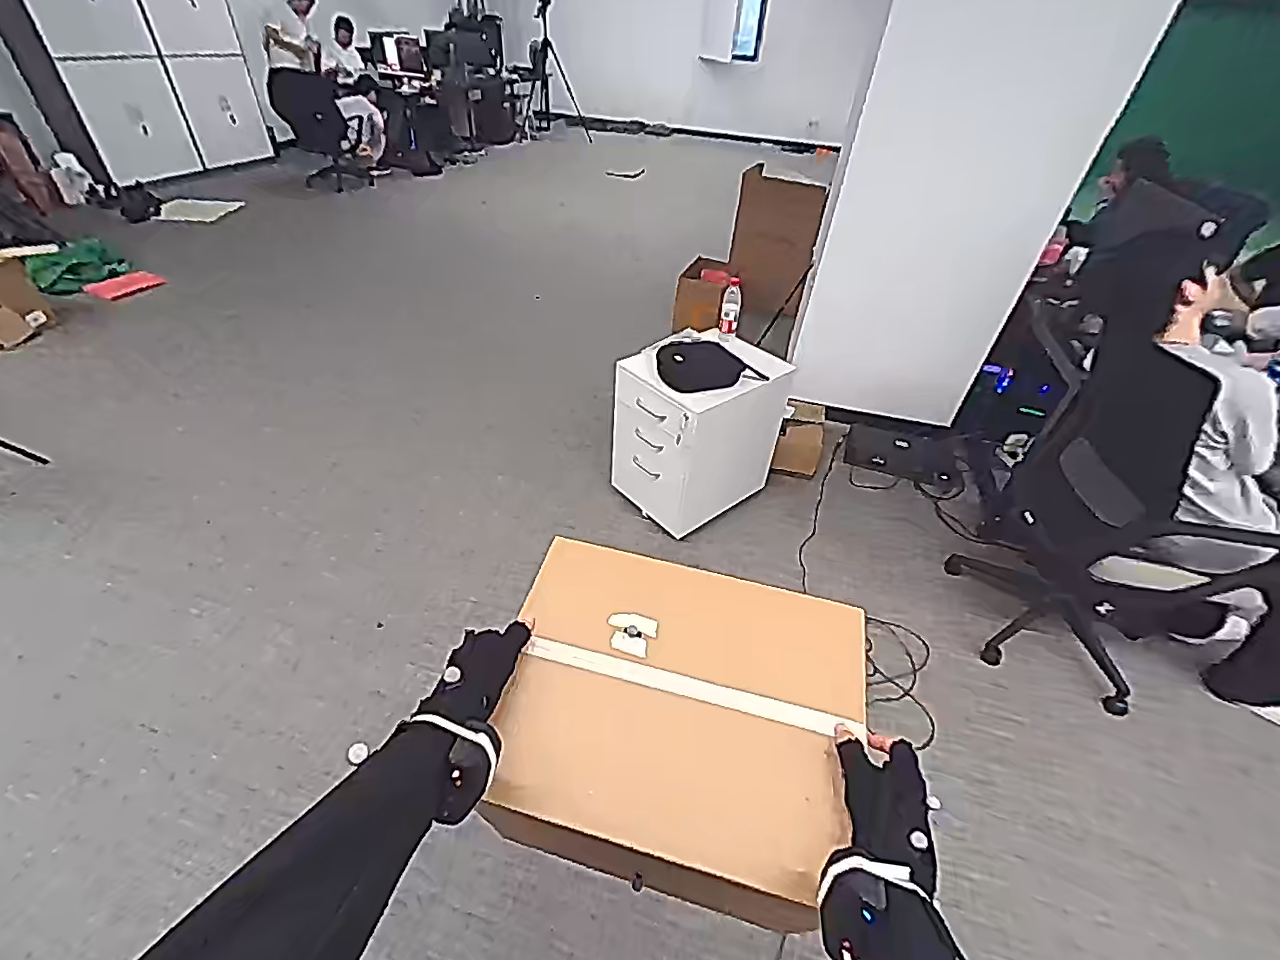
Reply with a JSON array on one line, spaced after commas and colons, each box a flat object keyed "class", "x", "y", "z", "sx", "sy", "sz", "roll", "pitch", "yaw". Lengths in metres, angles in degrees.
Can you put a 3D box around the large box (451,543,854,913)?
[{"class": "large box", "x": 0.036, "y": 0.330, "z": 0.722, "sx": 0.408, "sy": 0.320, "sz": 0.320, "roll": 12, "pitch": 49, "yaw": 9}]
